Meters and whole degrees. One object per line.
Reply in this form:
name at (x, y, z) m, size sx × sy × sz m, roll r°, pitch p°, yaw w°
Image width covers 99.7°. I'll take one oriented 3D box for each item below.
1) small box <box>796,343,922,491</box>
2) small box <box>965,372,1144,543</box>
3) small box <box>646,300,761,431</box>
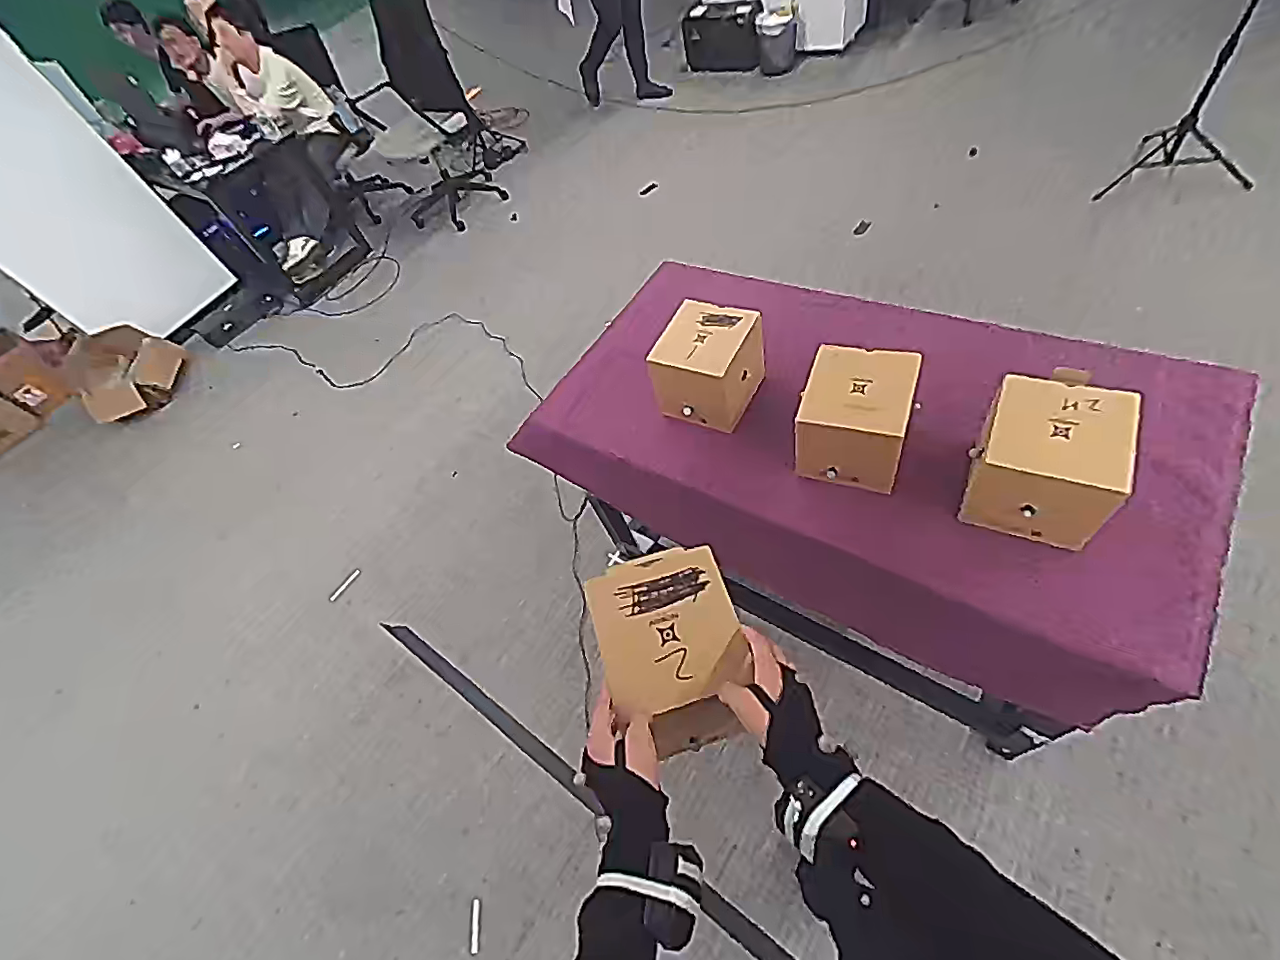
small box at (0.373, -0.109, 0.935) m, size 0.168 × 0.176 × 0.179 m, roll 12°, pitch 61°, yaw 25°
small box at (0.606, -0.031, 0.809) m, size 0.168 × 0.176 × 0.179 m, roll 17°, pitch 62°, yaw 26°
small box at (0.136, -0.230, 1.088) m, size 0.168 × 0.176 × 0.179 m, roll 19°, pitch 65°, yaw 27°
